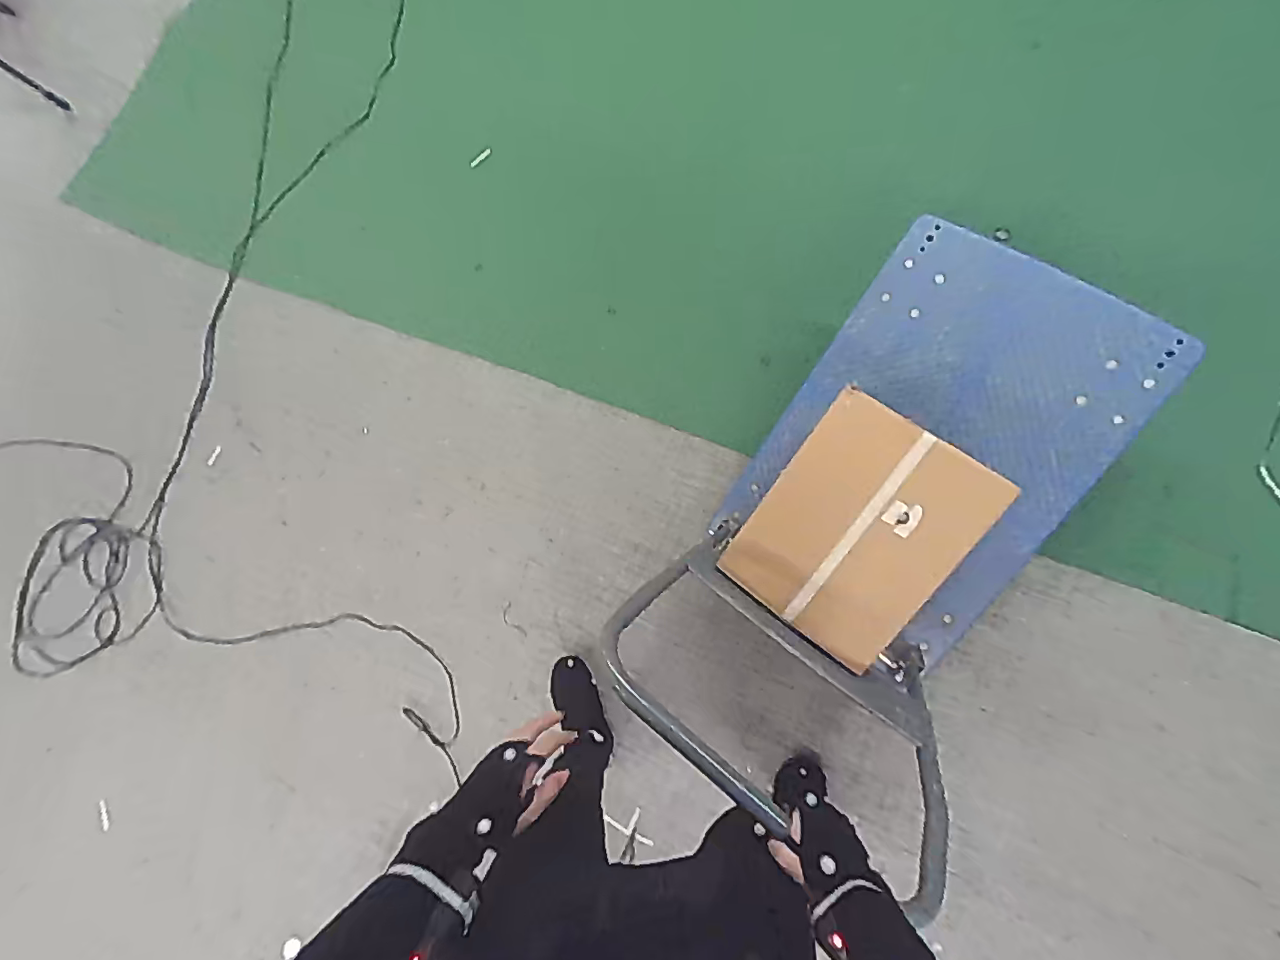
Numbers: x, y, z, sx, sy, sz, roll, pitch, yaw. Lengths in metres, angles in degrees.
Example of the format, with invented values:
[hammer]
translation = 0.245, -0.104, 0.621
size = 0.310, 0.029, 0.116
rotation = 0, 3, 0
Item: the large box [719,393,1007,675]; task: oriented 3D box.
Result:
[large box]
translation = 0.420, 0.094, 1.081
size = 0.320, 0.320, 0.408
rotation = 37, 103, 16
